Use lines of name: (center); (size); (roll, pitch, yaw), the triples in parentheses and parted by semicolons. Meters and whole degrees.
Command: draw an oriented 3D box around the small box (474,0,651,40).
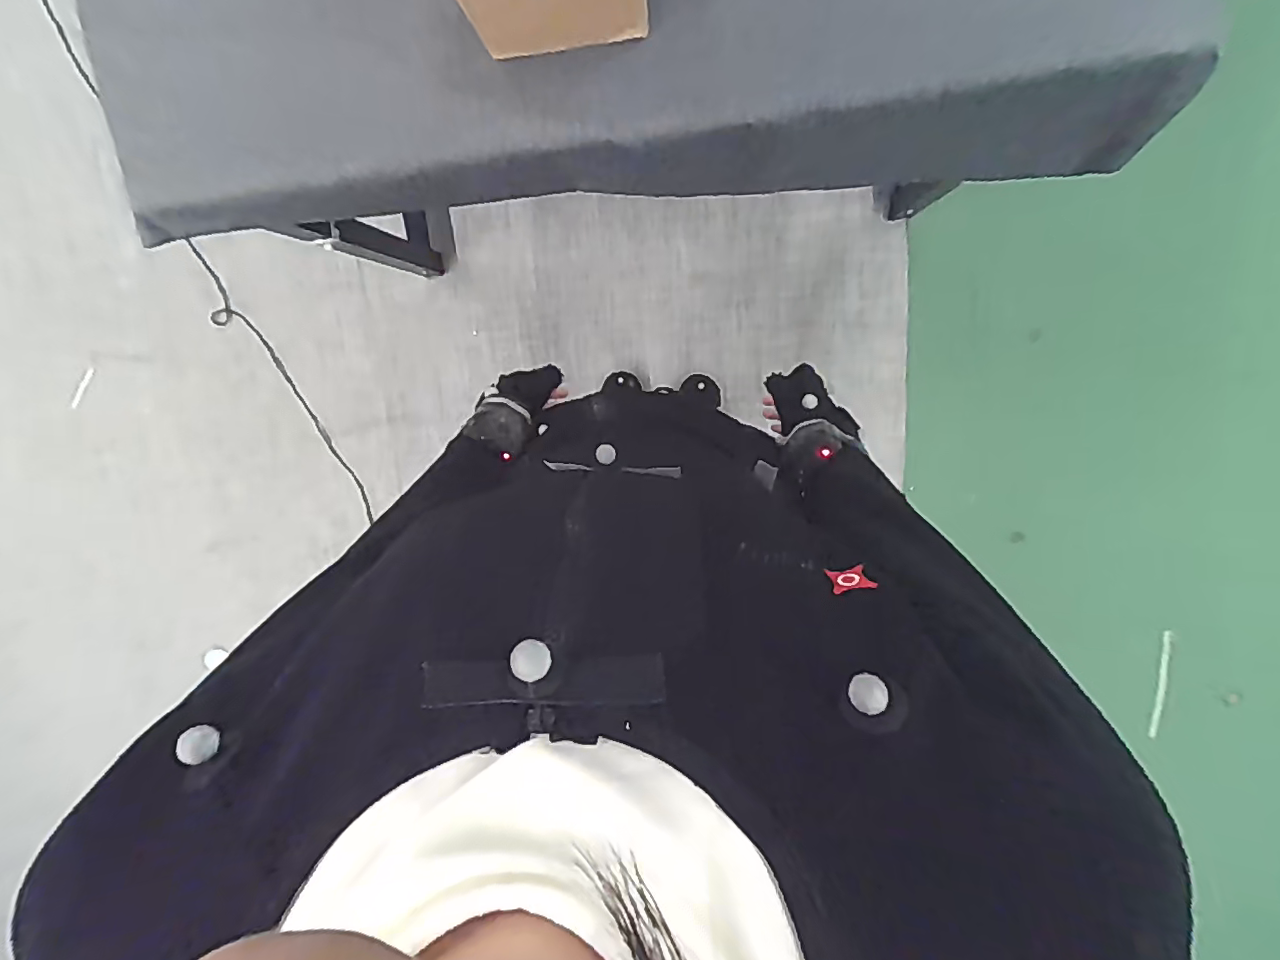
small box: (-0.087, -0.541, 0.490); (0.179, 0.176, 0.168); (-4, 104, 5)
